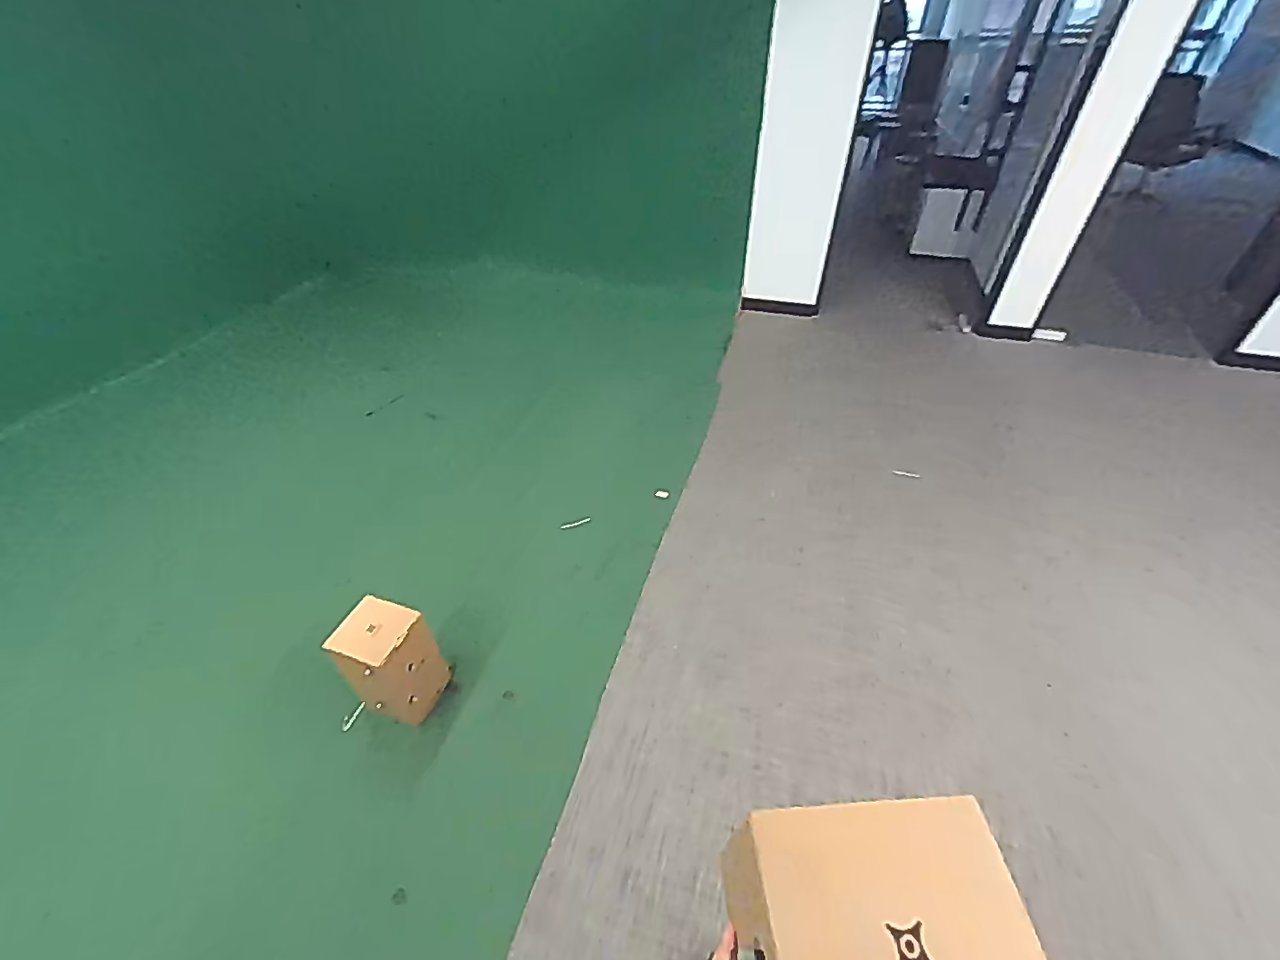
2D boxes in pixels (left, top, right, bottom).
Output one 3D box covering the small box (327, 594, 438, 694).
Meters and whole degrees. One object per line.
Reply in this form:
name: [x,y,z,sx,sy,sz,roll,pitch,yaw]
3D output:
small box: [-0.663,0.431,1.415,0.179,0.176,0.168,12,43,15]
